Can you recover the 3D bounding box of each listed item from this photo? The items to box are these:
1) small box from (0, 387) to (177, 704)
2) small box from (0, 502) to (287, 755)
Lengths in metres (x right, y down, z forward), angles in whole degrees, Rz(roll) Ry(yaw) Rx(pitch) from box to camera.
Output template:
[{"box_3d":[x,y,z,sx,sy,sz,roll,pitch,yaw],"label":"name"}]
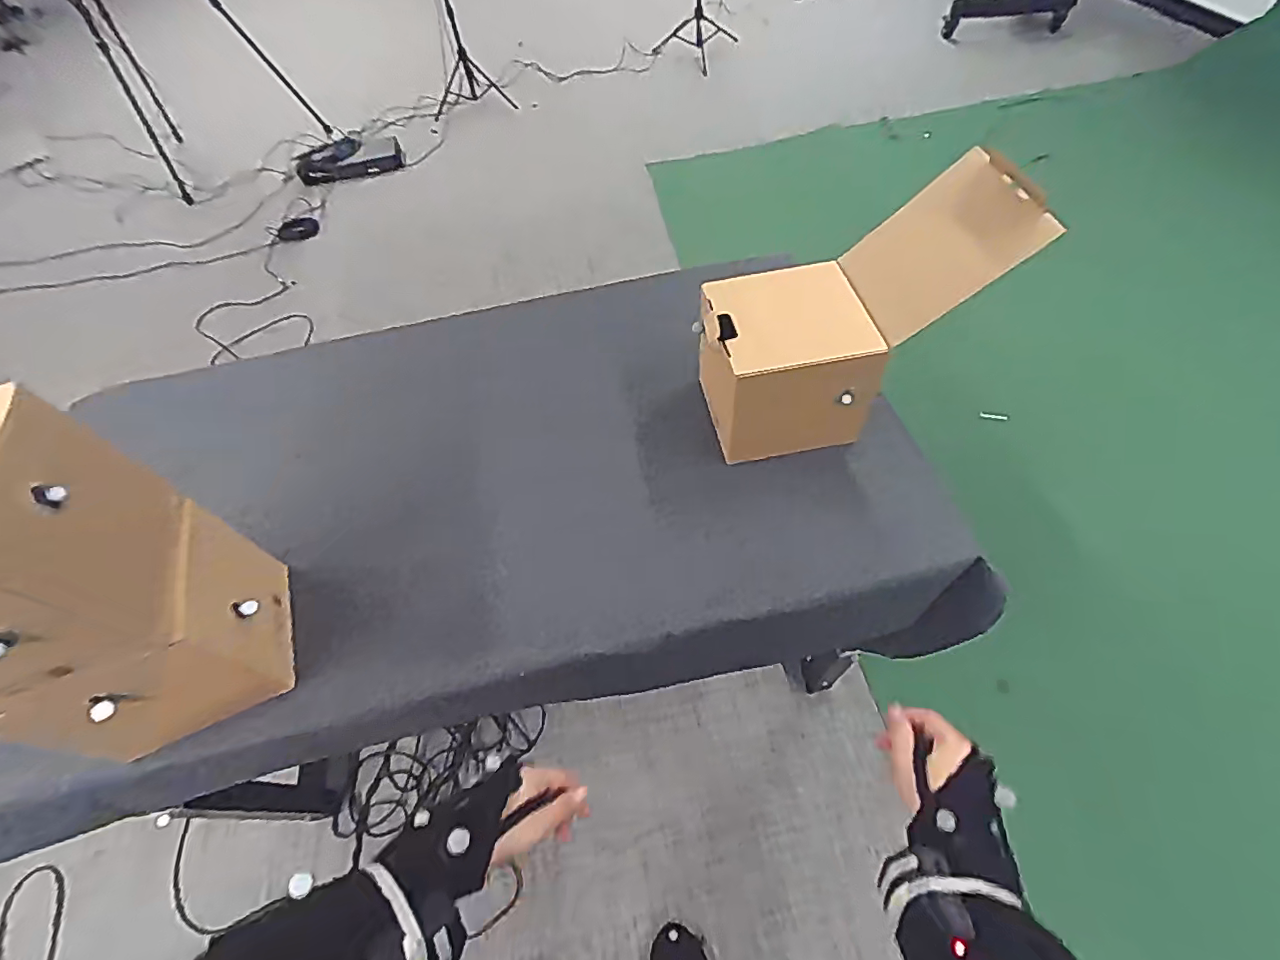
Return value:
[{"box_3d":[-0.515,0.065,0.424,0.168,0.176,0.179,-20,55,-9],"label":"small box"},{"box_3d":[-0.494,0.157,0.557,0.179,0.176,0.168,-23,57,-9],"label":"small box"}]
